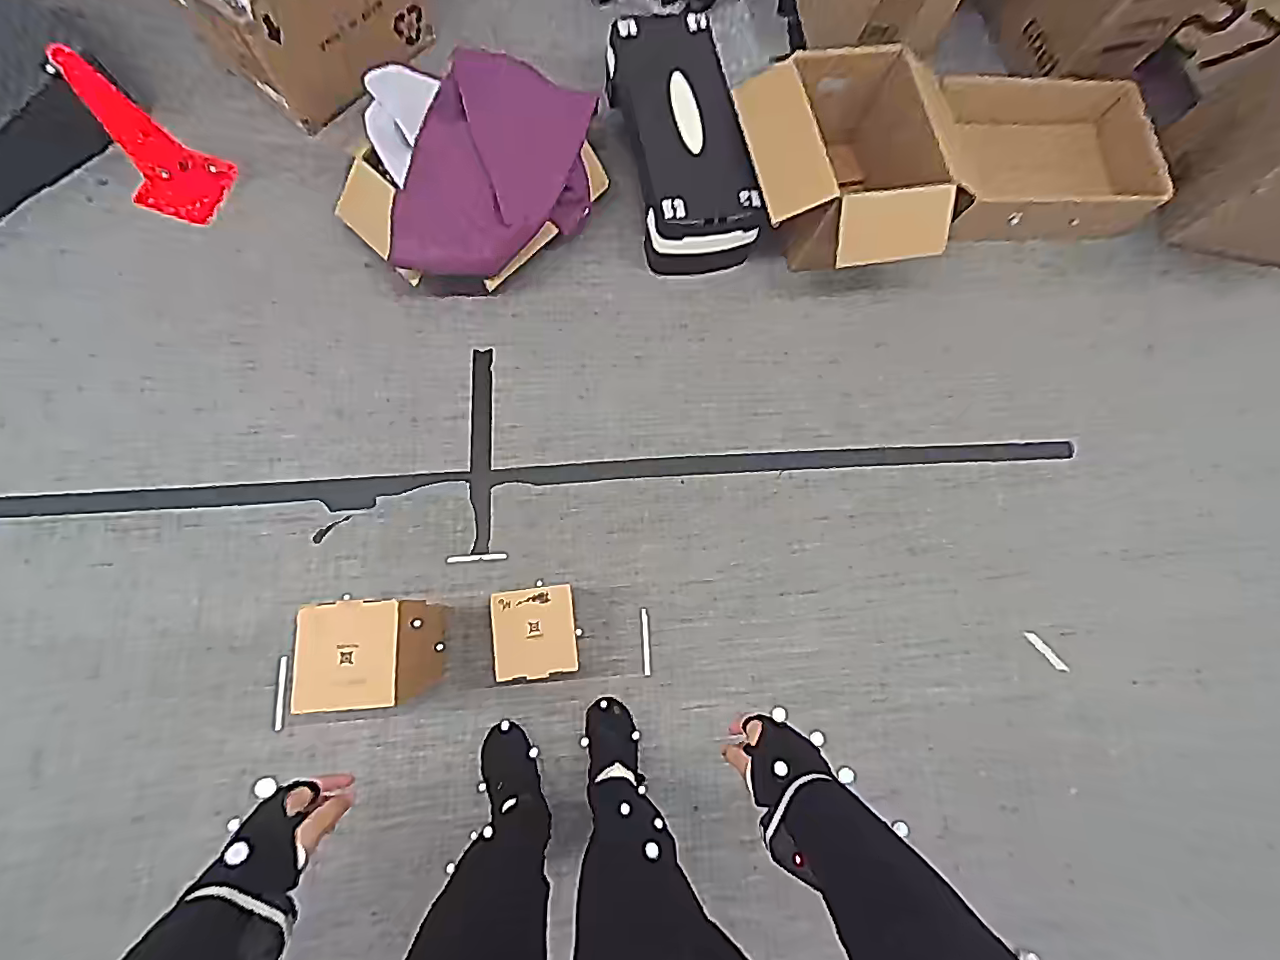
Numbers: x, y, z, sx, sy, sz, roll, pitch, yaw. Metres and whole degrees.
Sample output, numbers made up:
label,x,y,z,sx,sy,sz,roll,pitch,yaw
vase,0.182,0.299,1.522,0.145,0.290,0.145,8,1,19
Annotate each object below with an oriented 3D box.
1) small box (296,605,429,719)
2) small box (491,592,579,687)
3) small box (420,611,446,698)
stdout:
label,x,y,z,sx,sy,sz,roll,pitch,yaw
small box,-0.496,0.323,0.989,0.168,0.176,0.179,-3,78,-5
small box,-0.225,0.340,1.184,0.168,0.176,0.179,-6,78,-7
small box,-0.519,0.366,1.145,0.179,0.176,0.168,-1,76,-6
